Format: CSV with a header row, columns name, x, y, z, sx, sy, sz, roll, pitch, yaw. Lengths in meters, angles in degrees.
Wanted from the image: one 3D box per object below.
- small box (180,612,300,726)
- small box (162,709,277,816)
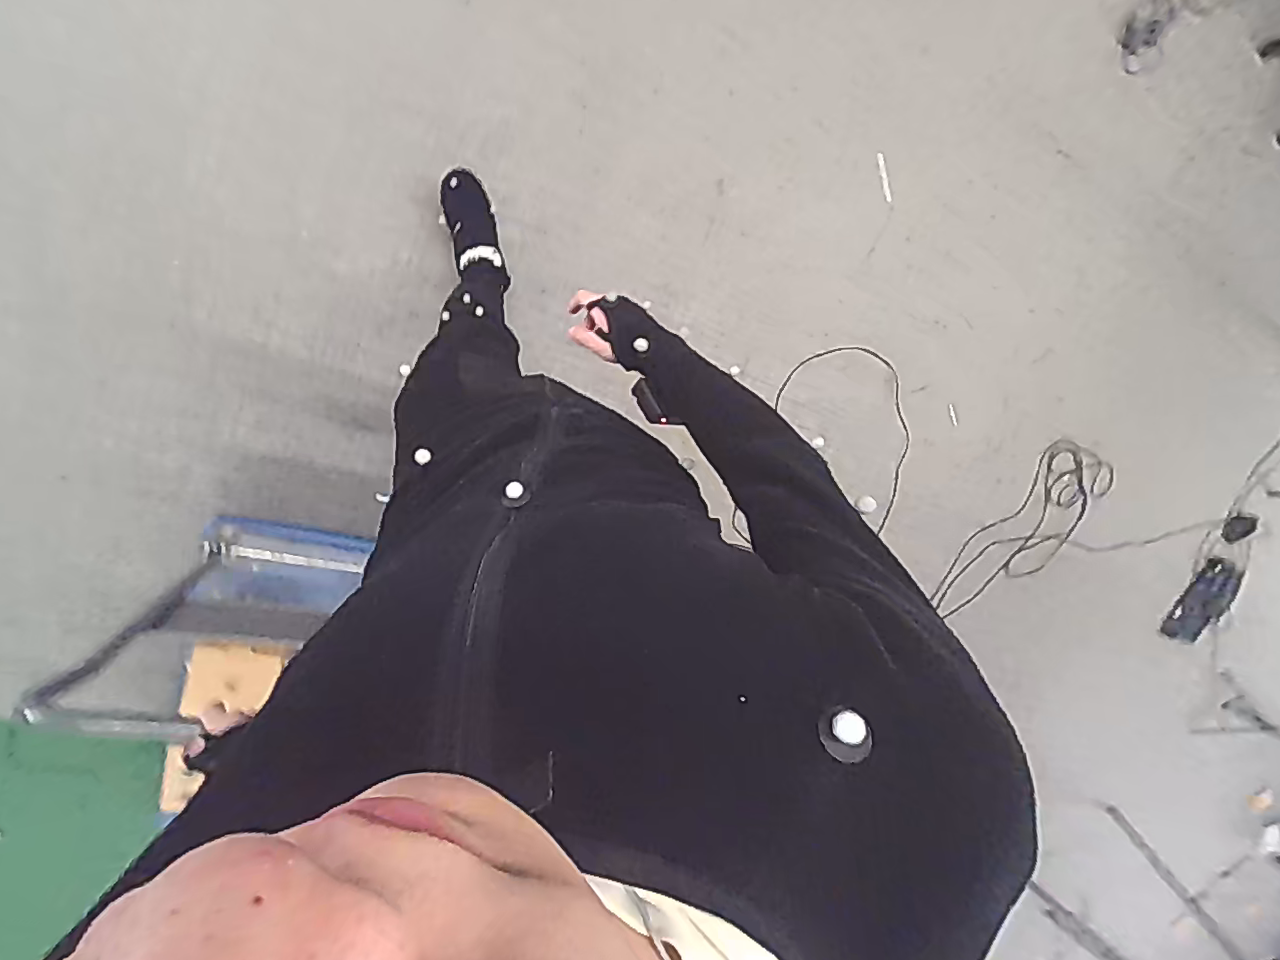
name,x,y,z,sx,sy,sz,roll,pitch,yaw
small box,-0.917,0.435,1.254,0.168,0.176,0.179,16,100,-22
small box,-0.999,0.666,1.297,0.168,0.176,0.179,12,101,-22
